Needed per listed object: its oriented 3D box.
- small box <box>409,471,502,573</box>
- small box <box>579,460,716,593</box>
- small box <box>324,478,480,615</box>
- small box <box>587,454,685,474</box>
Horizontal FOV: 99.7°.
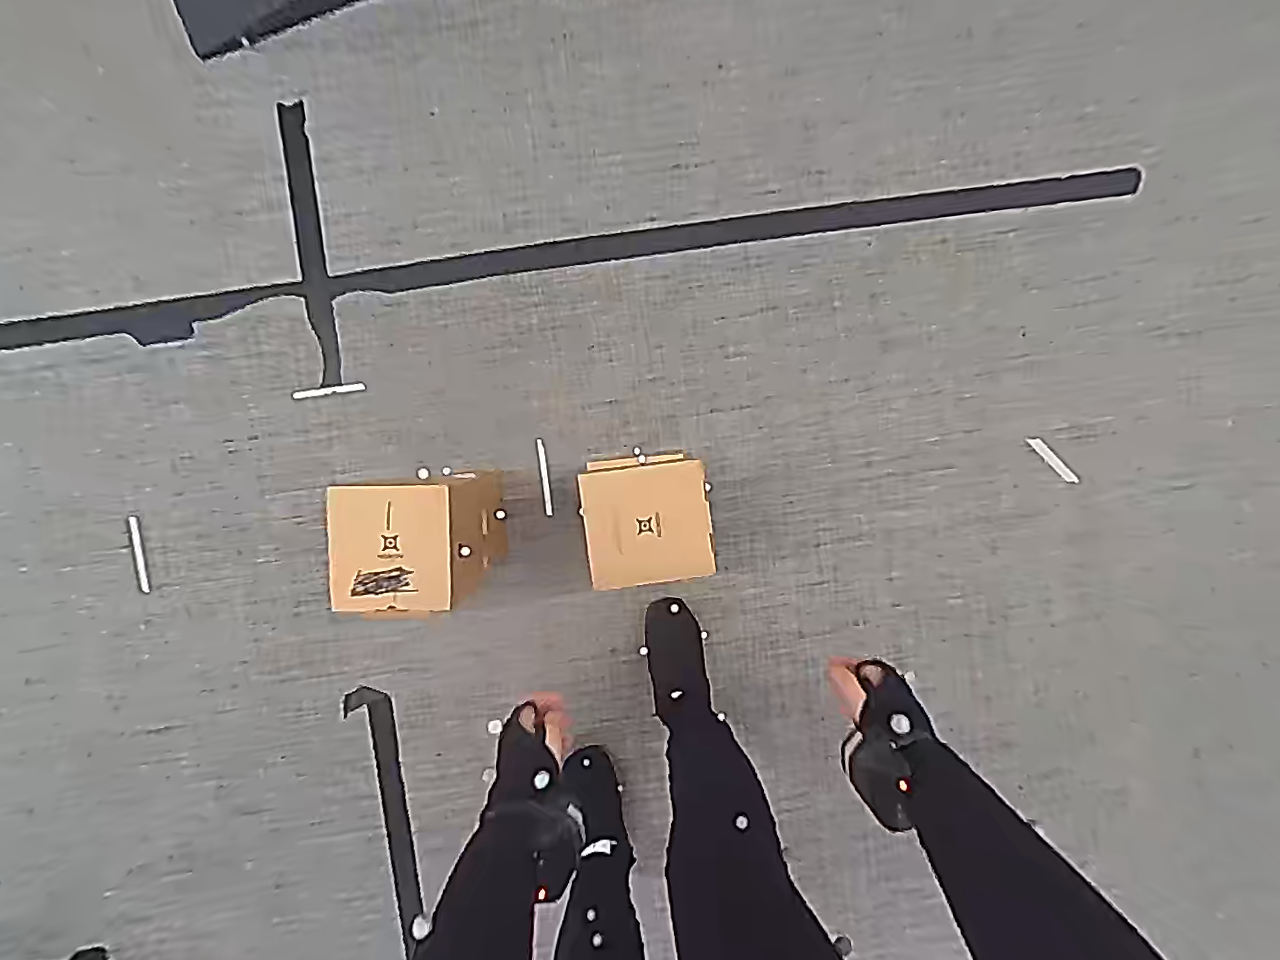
[{"bbox_3d":[-0.351,0.074,0.970,0.179,0.176,0.168,-5,94,-2],"label":"small box"},{"bbox_3d":[0.008,0.060,0.816,0.179,0.176,0.168,-7,93,-1],"label":"small box"},{"bbox_3d":[-0.342,0.090,0.806,0.168,0.176,0.179,0,93,-2],"label":"small box"},{"bbox_3d":[-0.004,0.045,0.978,0.168,0.176,0.179,-5,94,-1],"label":"small box"}]
